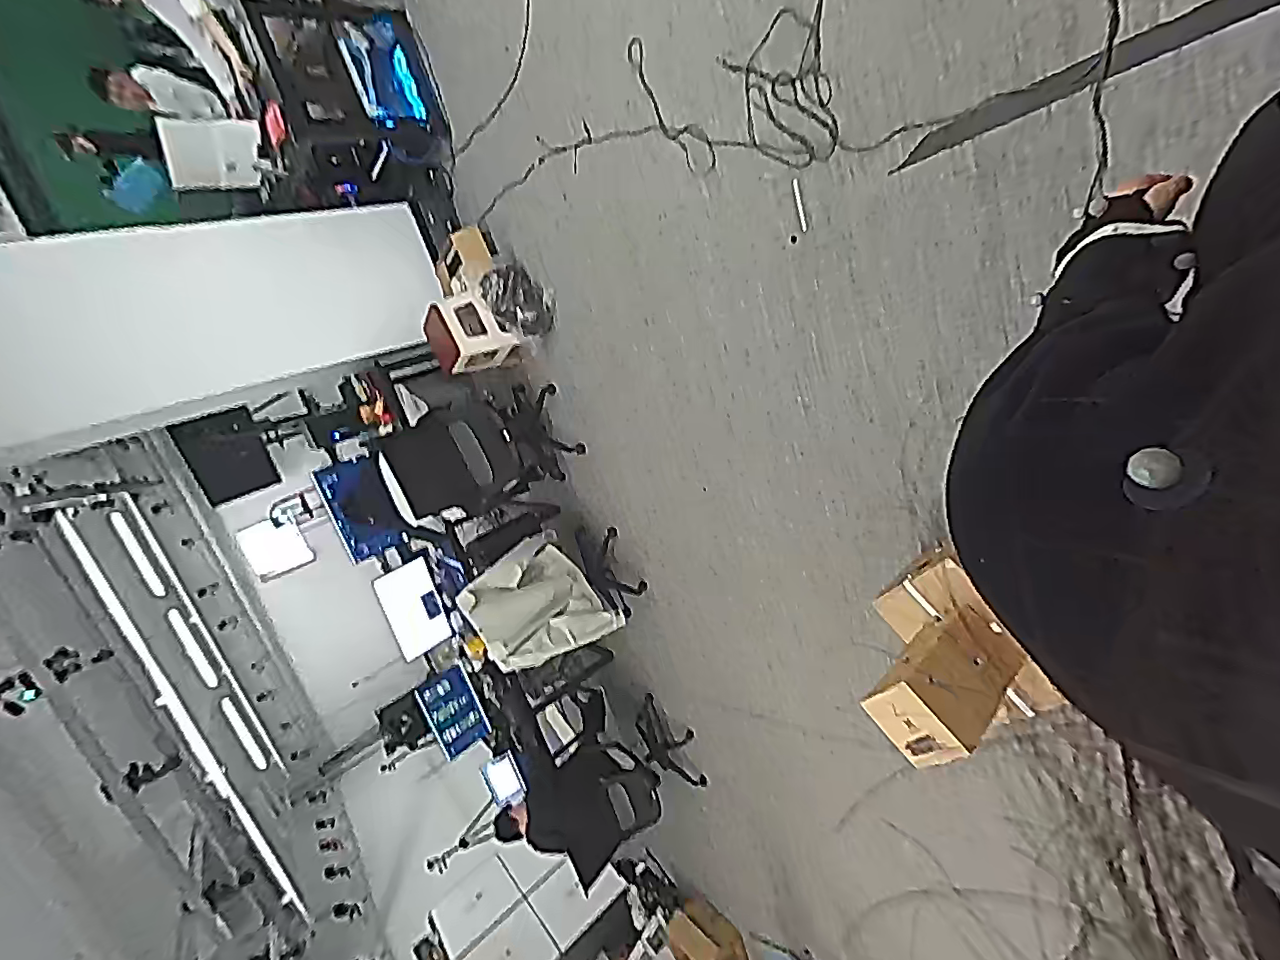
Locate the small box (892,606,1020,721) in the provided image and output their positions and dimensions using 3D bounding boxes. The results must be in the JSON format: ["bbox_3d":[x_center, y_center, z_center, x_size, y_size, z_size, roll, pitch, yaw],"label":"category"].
[{"bbox_3d":[0.760,0.438,1.300,0.179,0.176,0.168,51,144,20],"label":"small box"}]
